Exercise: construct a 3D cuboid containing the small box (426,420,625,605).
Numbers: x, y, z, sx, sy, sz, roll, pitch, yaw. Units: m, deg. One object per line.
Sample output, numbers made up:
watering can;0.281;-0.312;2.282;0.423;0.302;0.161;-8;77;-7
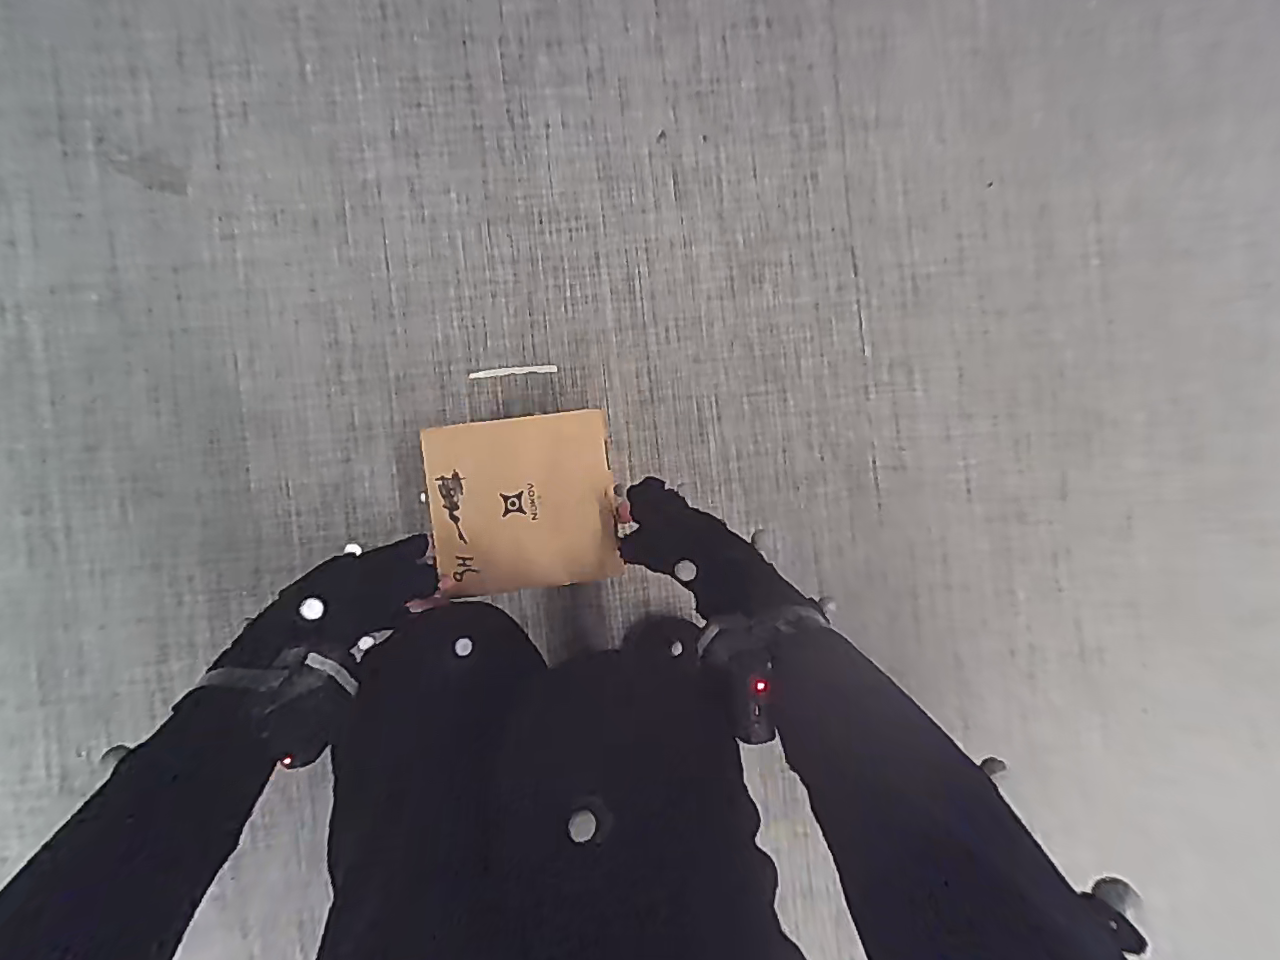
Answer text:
small box;-0.115;0.030;0.599;0.179;0.176;0.168;-7;90;-4
